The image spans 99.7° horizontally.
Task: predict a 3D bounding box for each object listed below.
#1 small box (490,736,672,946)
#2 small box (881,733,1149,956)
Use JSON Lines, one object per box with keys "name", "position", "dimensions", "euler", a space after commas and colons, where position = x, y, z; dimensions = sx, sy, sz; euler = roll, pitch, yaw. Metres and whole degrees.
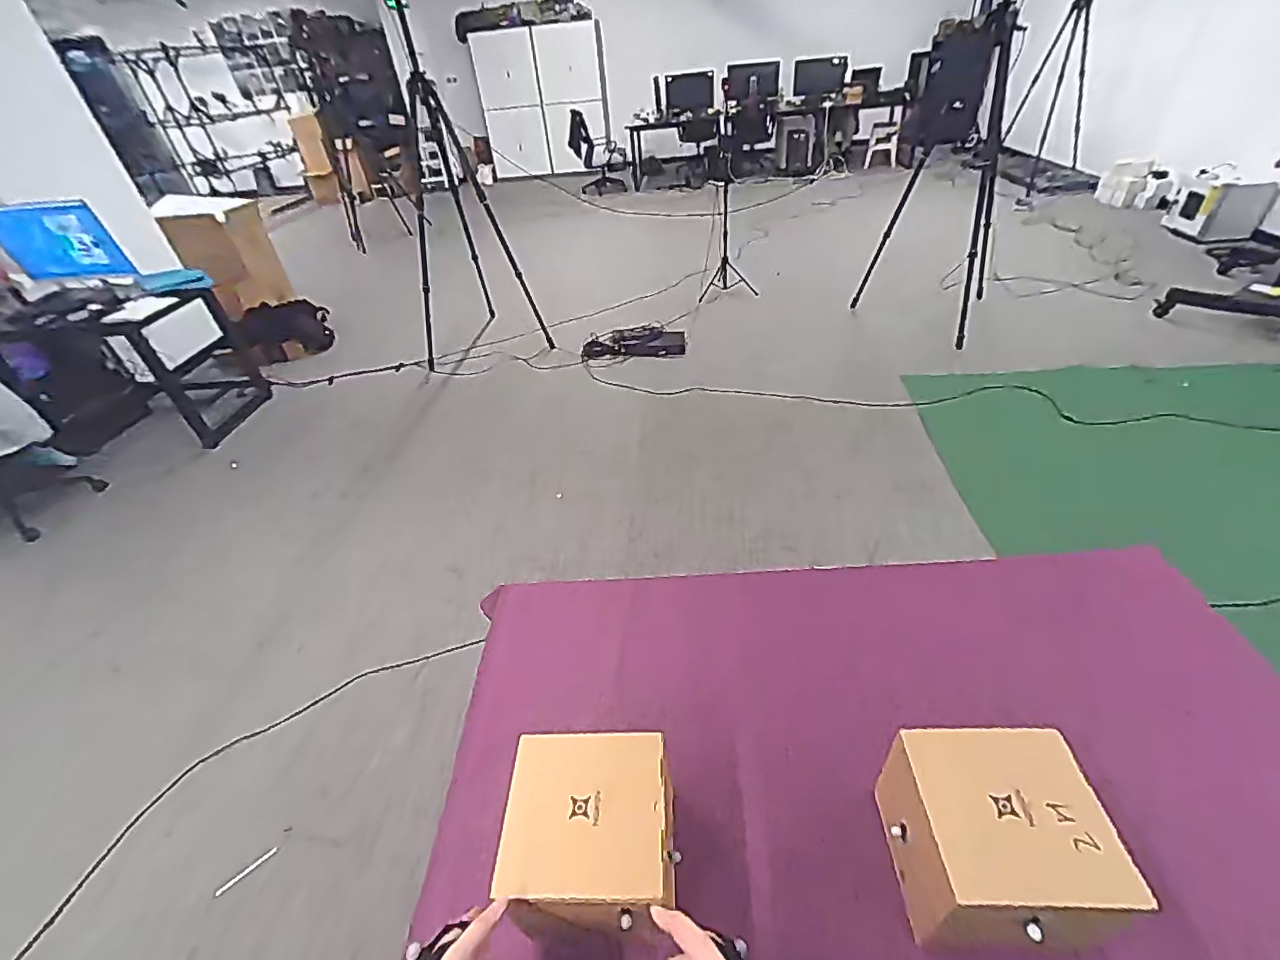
{"name": "small box", "position": [-0.054, 0.425, 0.638], "dimensions": [0.179, 0.176, 0.168], "euler": [-2, 38, 3]}
{"name": "small box", "position": [0.384, 0.404, 0.602], "dimensions": [0.179, 0.176, 0.168], "euler": [-2, 39, 5]}
